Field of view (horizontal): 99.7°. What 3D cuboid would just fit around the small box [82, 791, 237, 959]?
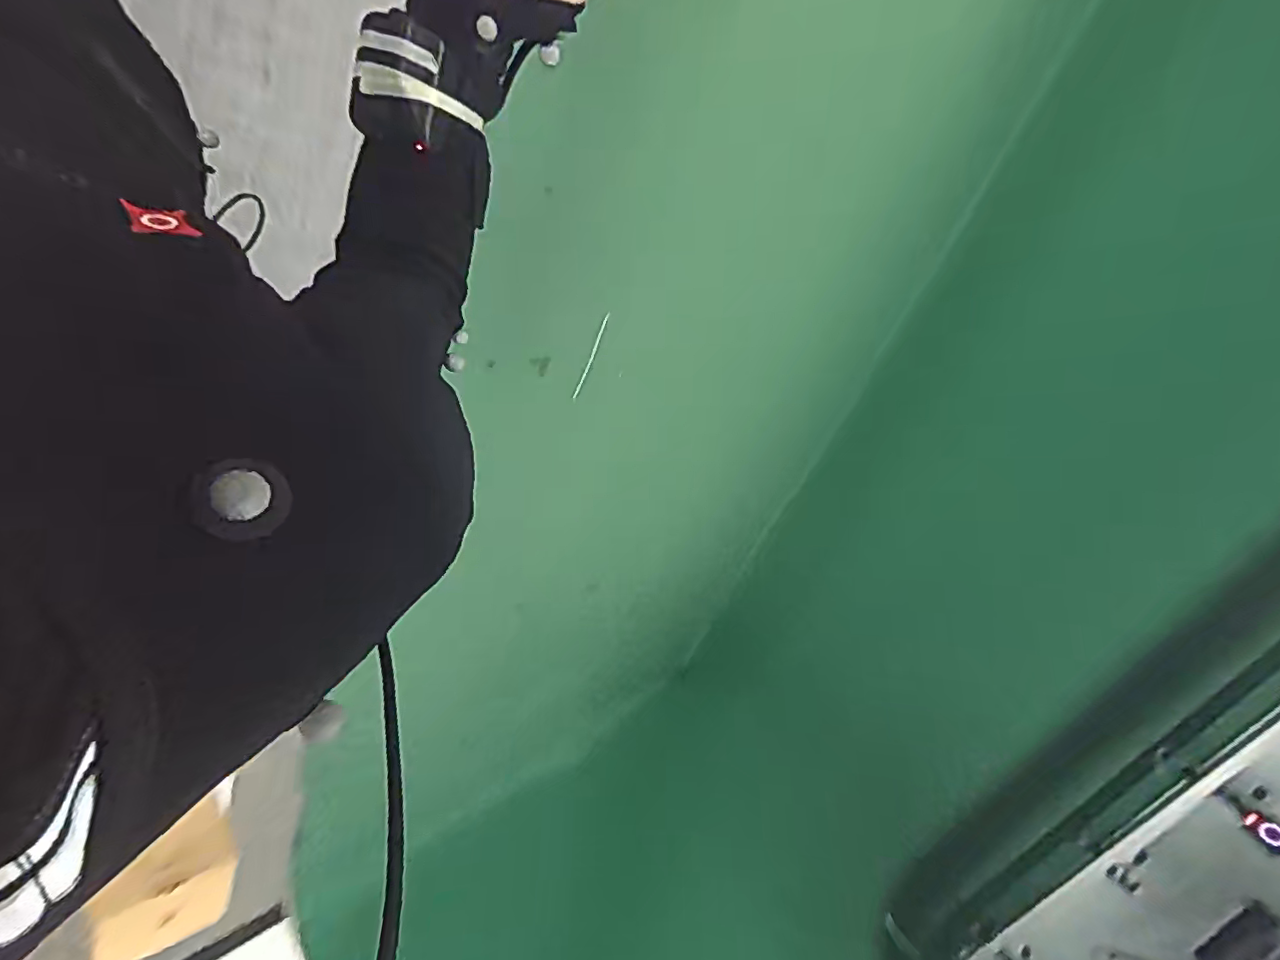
[{"bbox_3d":[-0.800,0.668,0.898,0.168,0.176,0.179,-2,123,-50],"label":"small box"}]
